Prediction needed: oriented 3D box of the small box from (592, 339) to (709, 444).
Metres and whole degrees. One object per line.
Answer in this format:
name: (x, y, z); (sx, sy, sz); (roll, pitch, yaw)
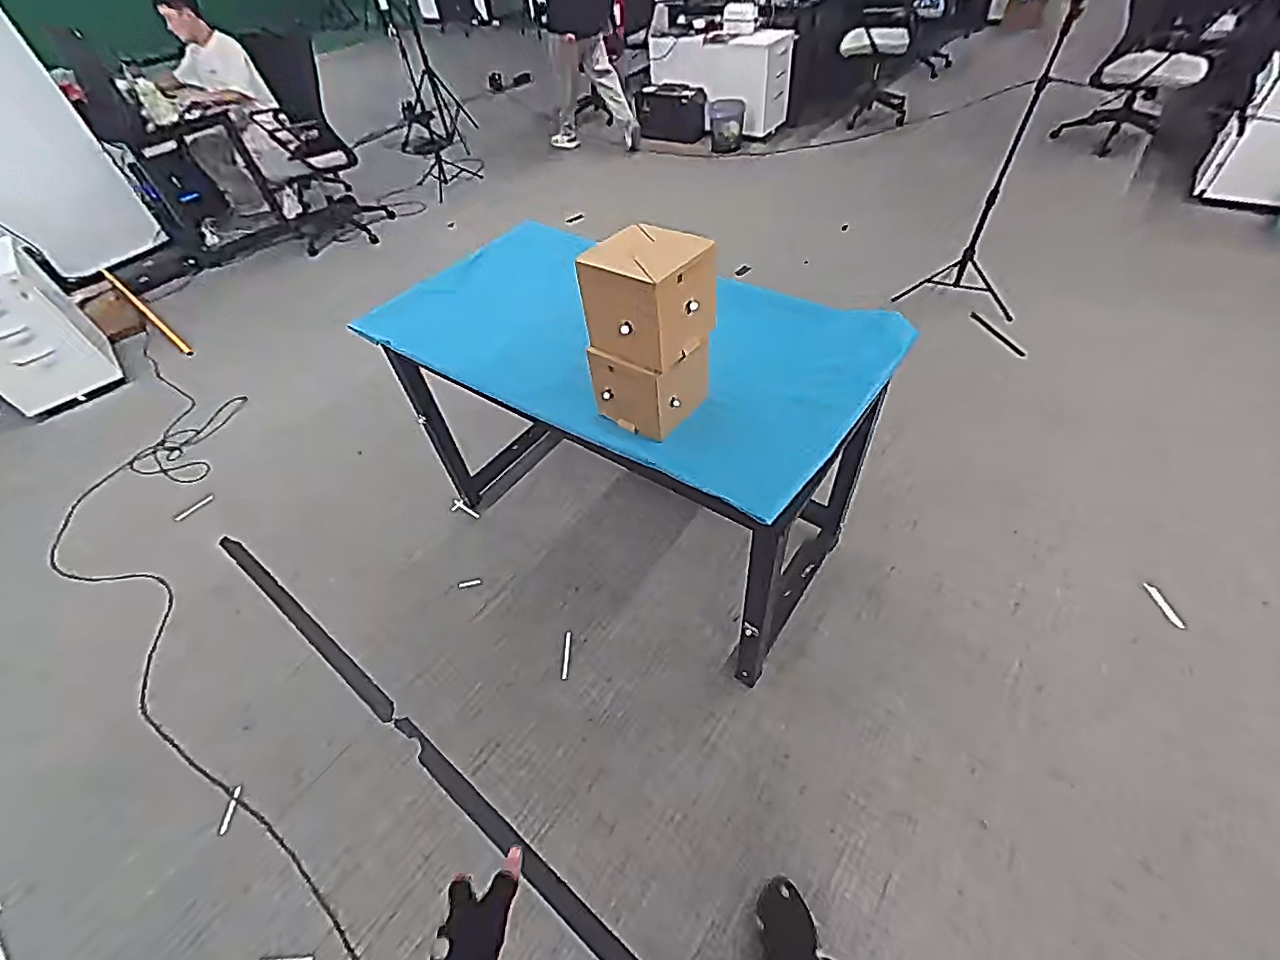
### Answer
small box: (0.024, -0.208, 1.075); (0.168, 0.176, 0.179); (27, 56, 27)

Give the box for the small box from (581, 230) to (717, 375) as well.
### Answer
small box: (0.018, -0.319, 0.954); (0.179, 0.176, 0.168); (27, 55, 30)
